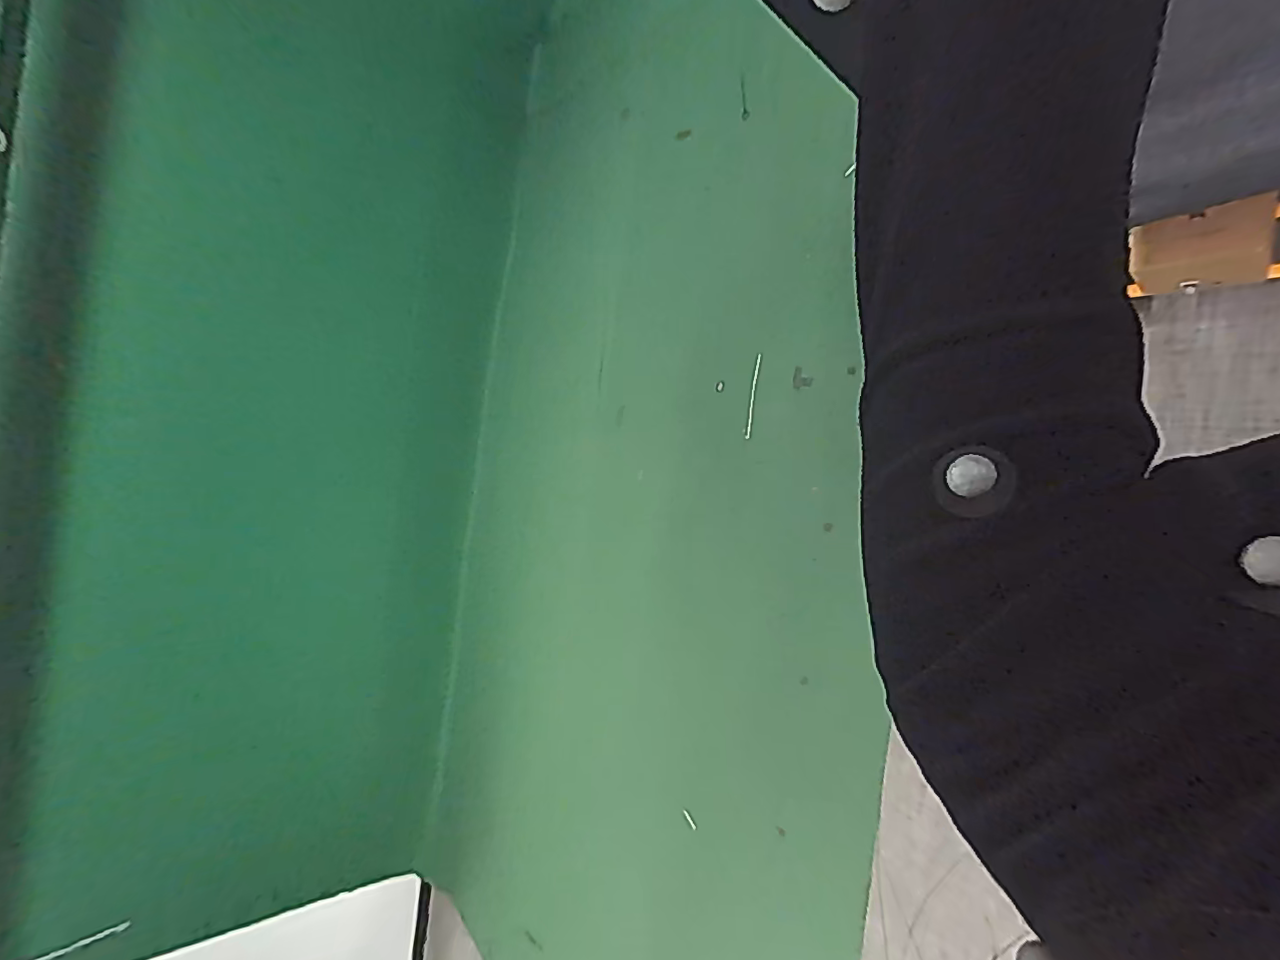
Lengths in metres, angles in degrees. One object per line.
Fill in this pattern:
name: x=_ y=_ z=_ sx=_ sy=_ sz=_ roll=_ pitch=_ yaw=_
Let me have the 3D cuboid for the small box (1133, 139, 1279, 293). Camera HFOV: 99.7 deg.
small box: x=1.025 y=-0.462 z=0.976 sx=0.168 sy=0.176 sz=0.179 roll=6 pitch=91 yaw=52
